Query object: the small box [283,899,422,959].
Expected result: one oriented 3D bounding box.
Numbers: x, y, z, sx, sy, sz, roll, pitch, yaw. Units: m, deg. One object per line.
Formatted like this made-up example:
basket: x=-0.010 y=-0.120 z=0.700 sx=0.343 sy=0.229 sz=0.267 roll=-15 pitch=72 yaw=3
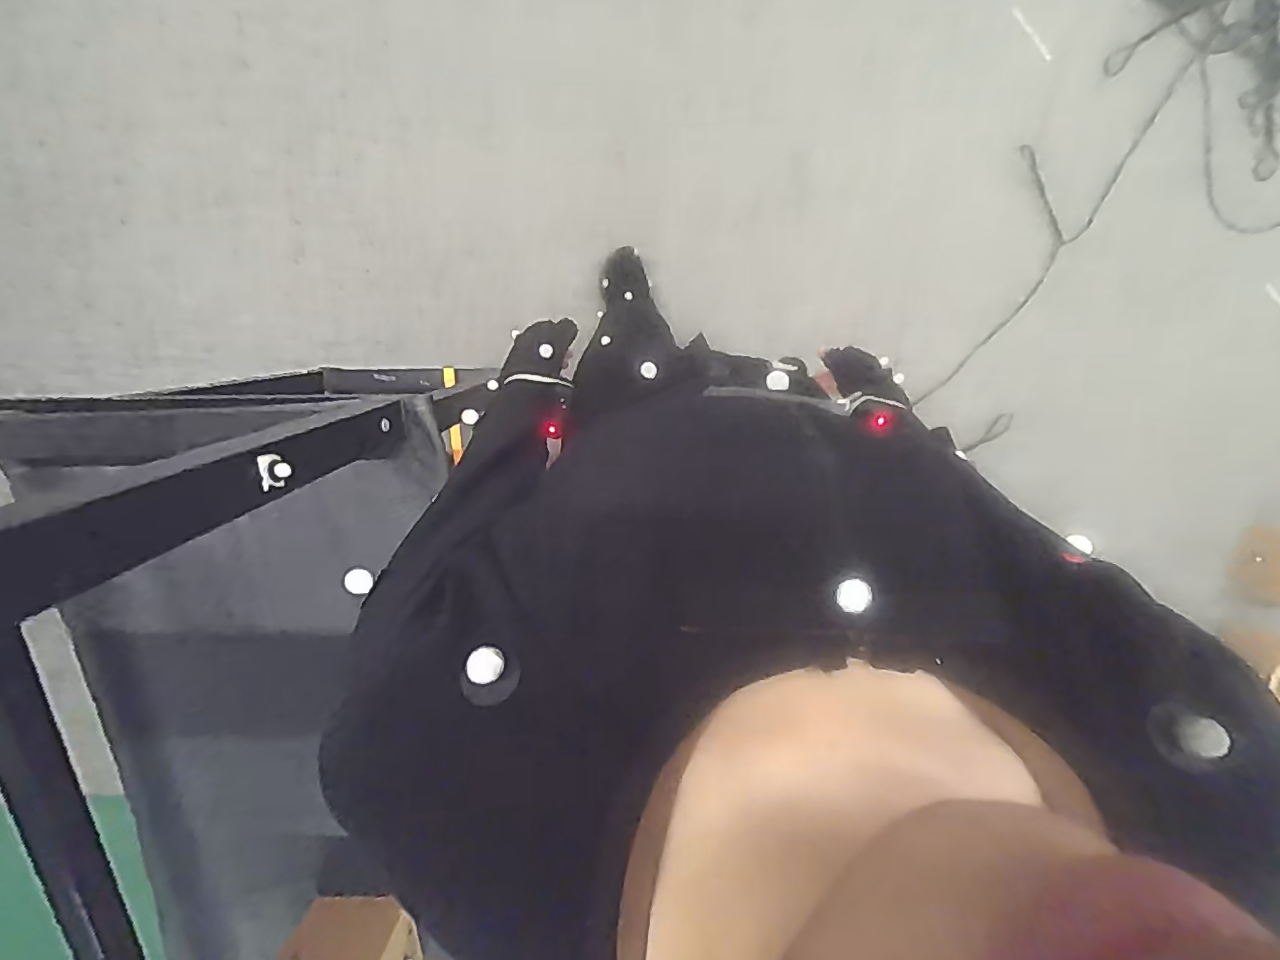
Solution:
small box: x=-0.496 y=0.848 z=0.912 sx=0.179 sy=0.176 sz=0.168 roll=-2 pitch=106 yaw=3
